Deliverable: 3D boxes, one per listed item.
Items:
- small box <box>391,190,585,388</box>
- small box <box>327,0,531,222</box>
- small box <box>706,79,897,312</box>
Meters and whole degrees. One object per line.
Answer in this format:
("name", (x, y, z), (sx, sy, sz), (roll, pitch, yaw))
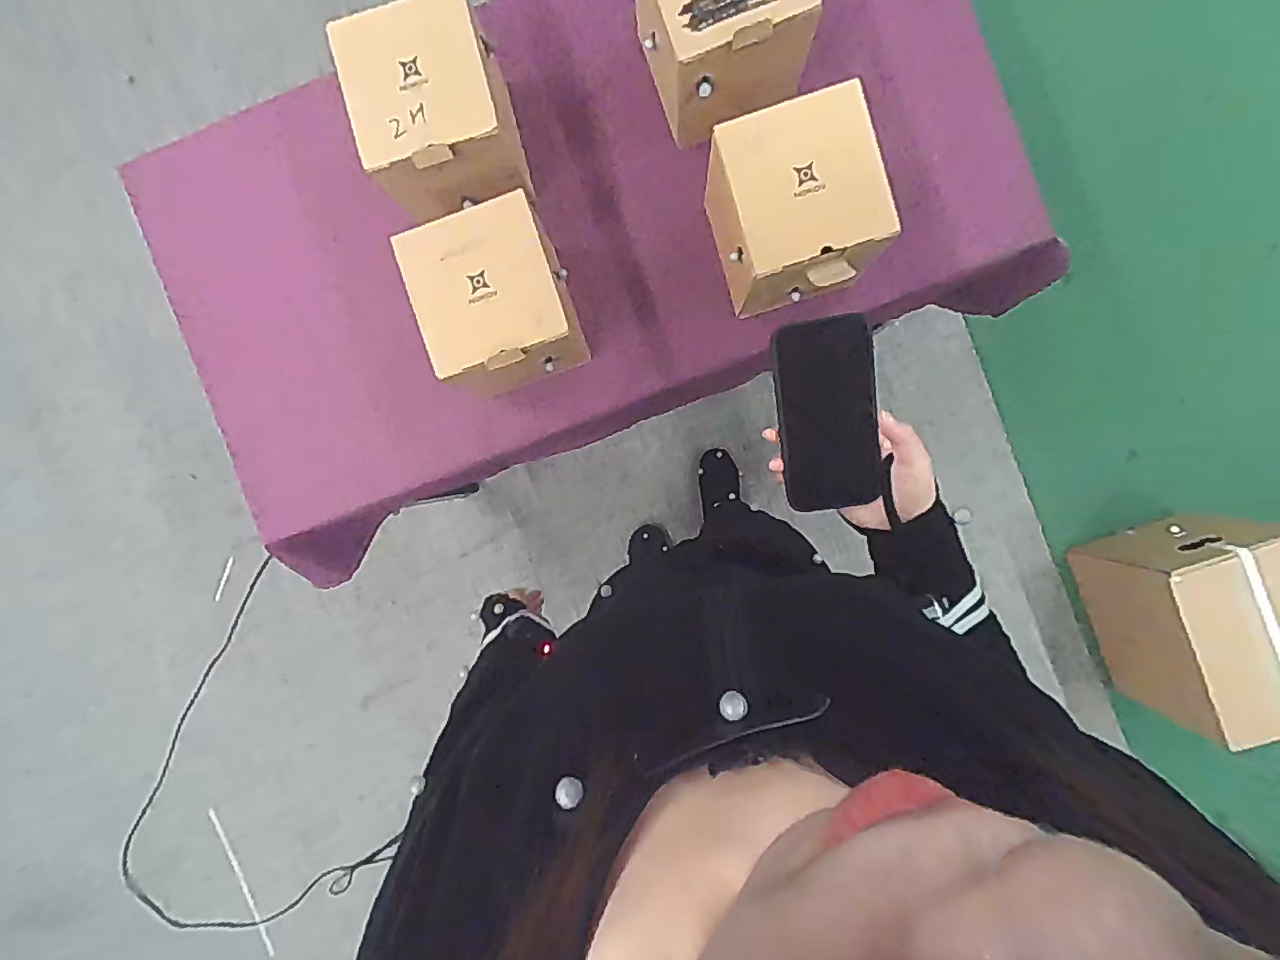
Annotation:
("small box", (-0.180, -0.226, 0.697), (0.168, 0.176, 0.179), (-18, 90, 3))
("small box", (-0.255, -0.461, 0.692), (0.168, 0.176, 0.179), (-14, 91, 4))
("small box", (0.184, -0.333, 0.669), (0.168, 0.176, 0.179), (-16, 91, 4))
